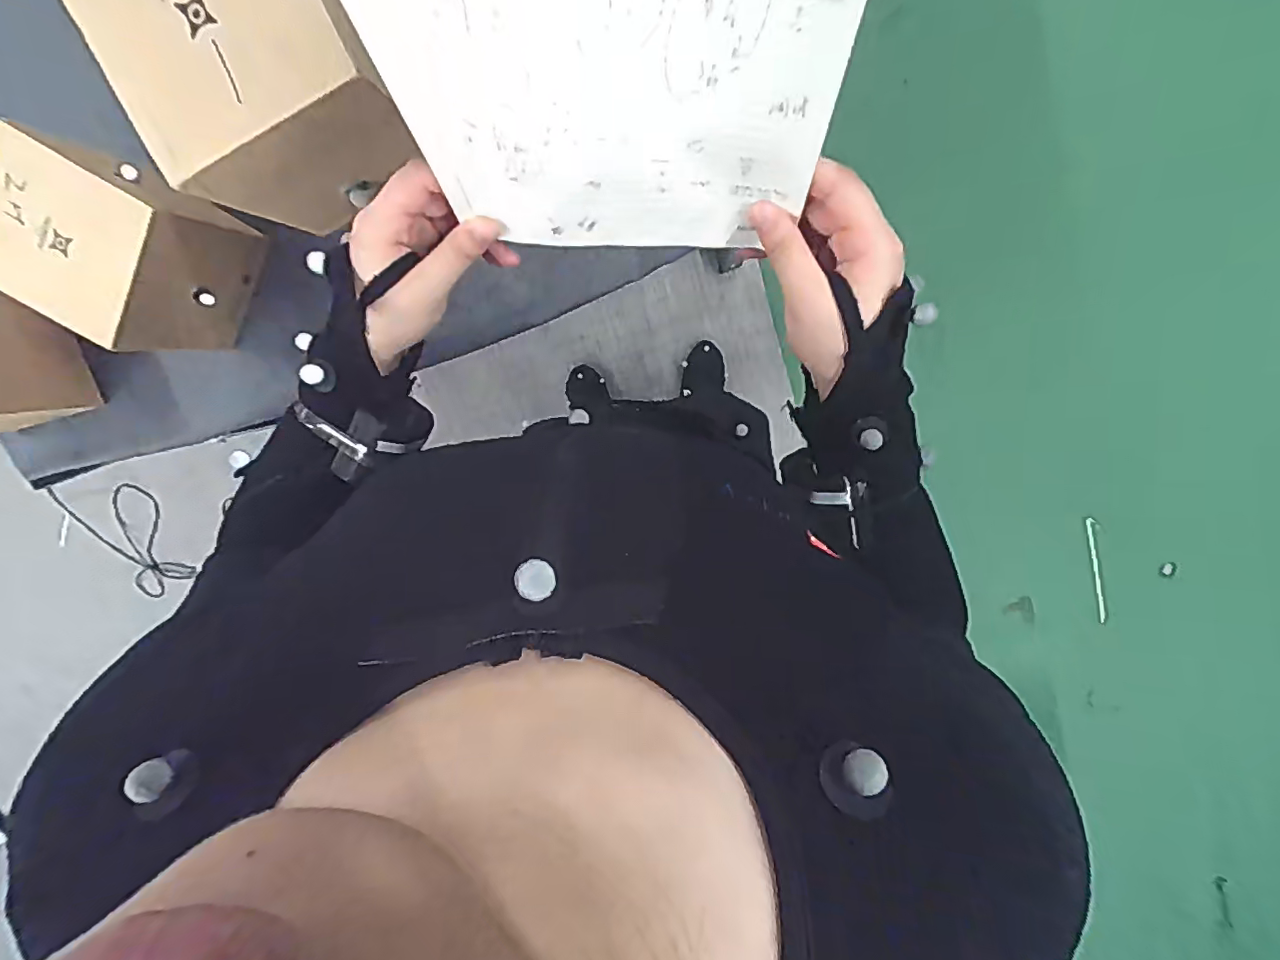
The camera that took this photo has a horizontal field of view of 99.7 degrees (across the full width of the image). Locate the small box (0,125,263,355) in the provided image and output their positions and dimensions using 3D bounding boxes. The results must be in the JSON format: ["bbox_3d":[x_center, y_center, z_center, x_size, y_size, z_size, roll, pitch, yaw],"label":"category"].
[{"bbox_3d":[-0.600,-0.266,0.638,0.179,0.176,0.168,30,104,-3],"label":"small box"}]

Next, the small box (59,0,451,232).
[{"bbox_3d":[-0.286,-0.328,0.430,0.168,0.176,0.179,-22,101,10],"label":"small box"}]

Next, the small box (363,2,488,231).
[{"bbox_3d":[-0.280,-0.382,0.586,0.179,0.176,0.168,11,105,3],"label":"small box"}]

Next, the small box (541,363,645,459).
[{"bbox_3d":[-0.112,-0.173,1.361,0.176,0.168,0.179,31,80,-33],"label":"small box"}]

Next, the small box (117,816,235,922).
[{"bbox_3d":[-1.235,1.042,1.459,0.179,0.176,0.168,3,104,2],"label":"small box"}]
